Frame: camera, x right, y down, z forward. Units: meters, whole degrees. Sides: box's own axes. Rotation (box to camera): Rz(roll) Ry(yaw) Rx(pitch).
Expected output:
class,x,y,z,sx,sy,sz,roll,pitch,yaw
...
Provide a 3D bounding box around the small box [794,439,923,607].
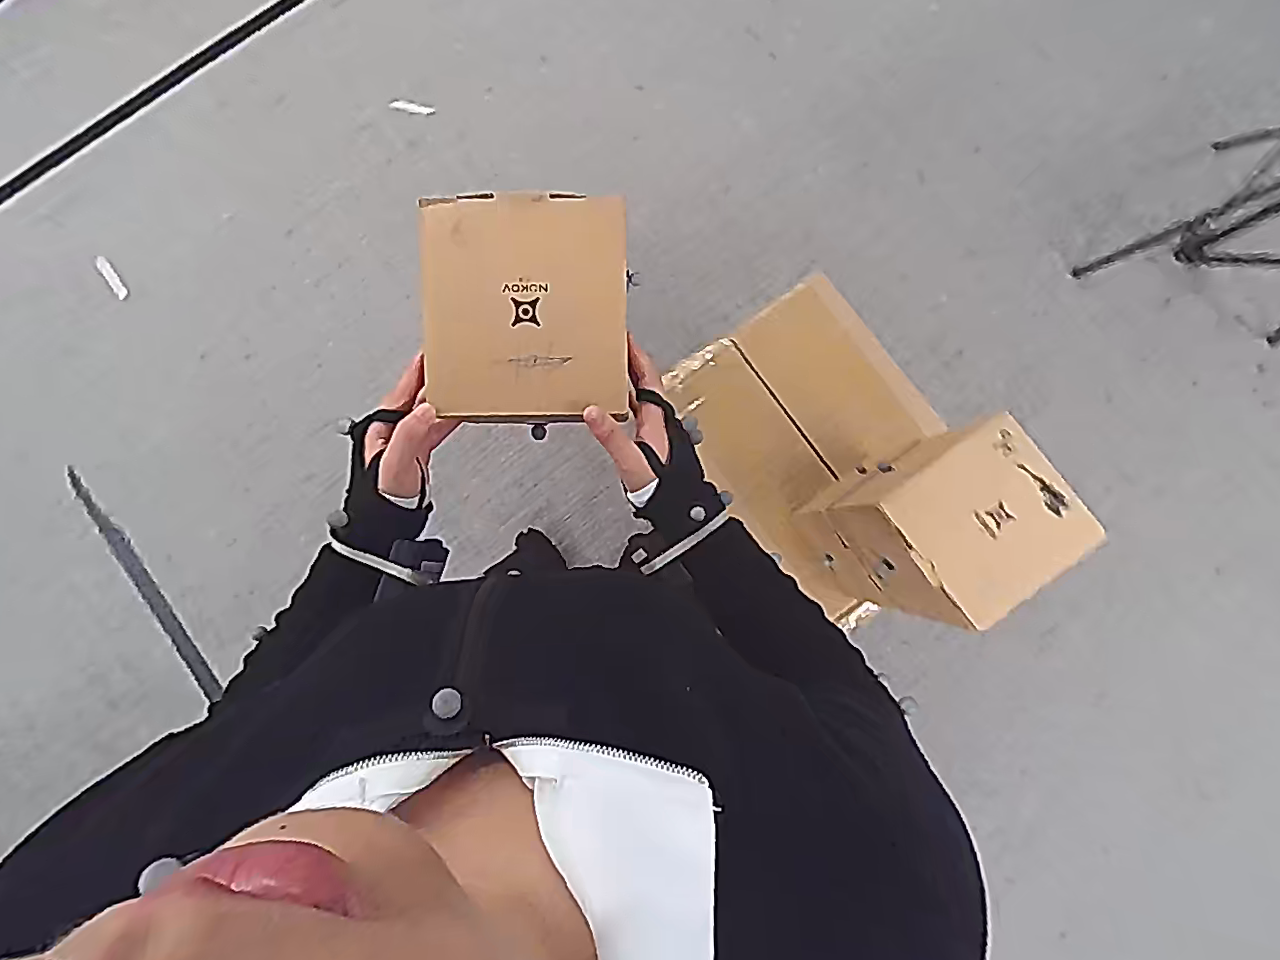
class,x,y,z,sx,sy,sz,roll,pitch,yaw
small box,0.361,0.064,0.806,0.179,0.176,0.168,-36,84,-3

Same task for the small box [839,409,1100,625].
class,x,y,z,sx,sy,sz,roll,pitch,yaw
small box,0.363,0.046,0.643,0.179,0.176,0.168,-35,84,-2

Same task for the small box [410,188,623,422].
class,x,y,z,sx,sy,sz,roll,pitch,yaw
small box,-0.101,-0.148,0.511,0.168,0.176,0.179,-2,94,-2
